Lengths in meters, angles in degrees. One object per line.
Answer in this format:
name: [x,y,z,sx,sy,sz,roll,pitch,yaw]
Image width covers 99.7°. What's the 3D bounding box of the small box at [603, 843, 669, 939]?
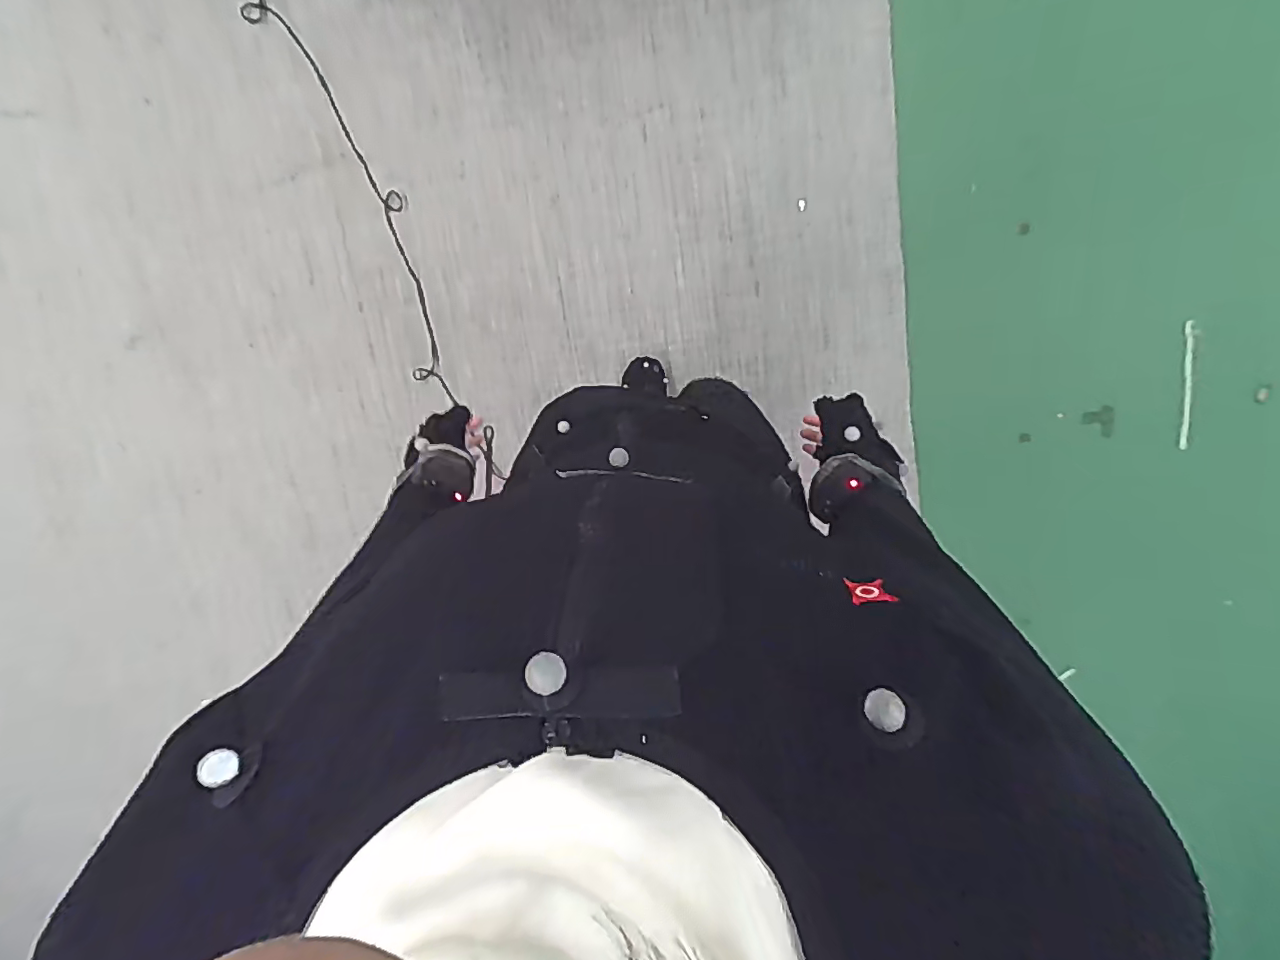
small box: [-0.008,1.229,1.625,0.179,0.176,0.168,-6,102,5]
